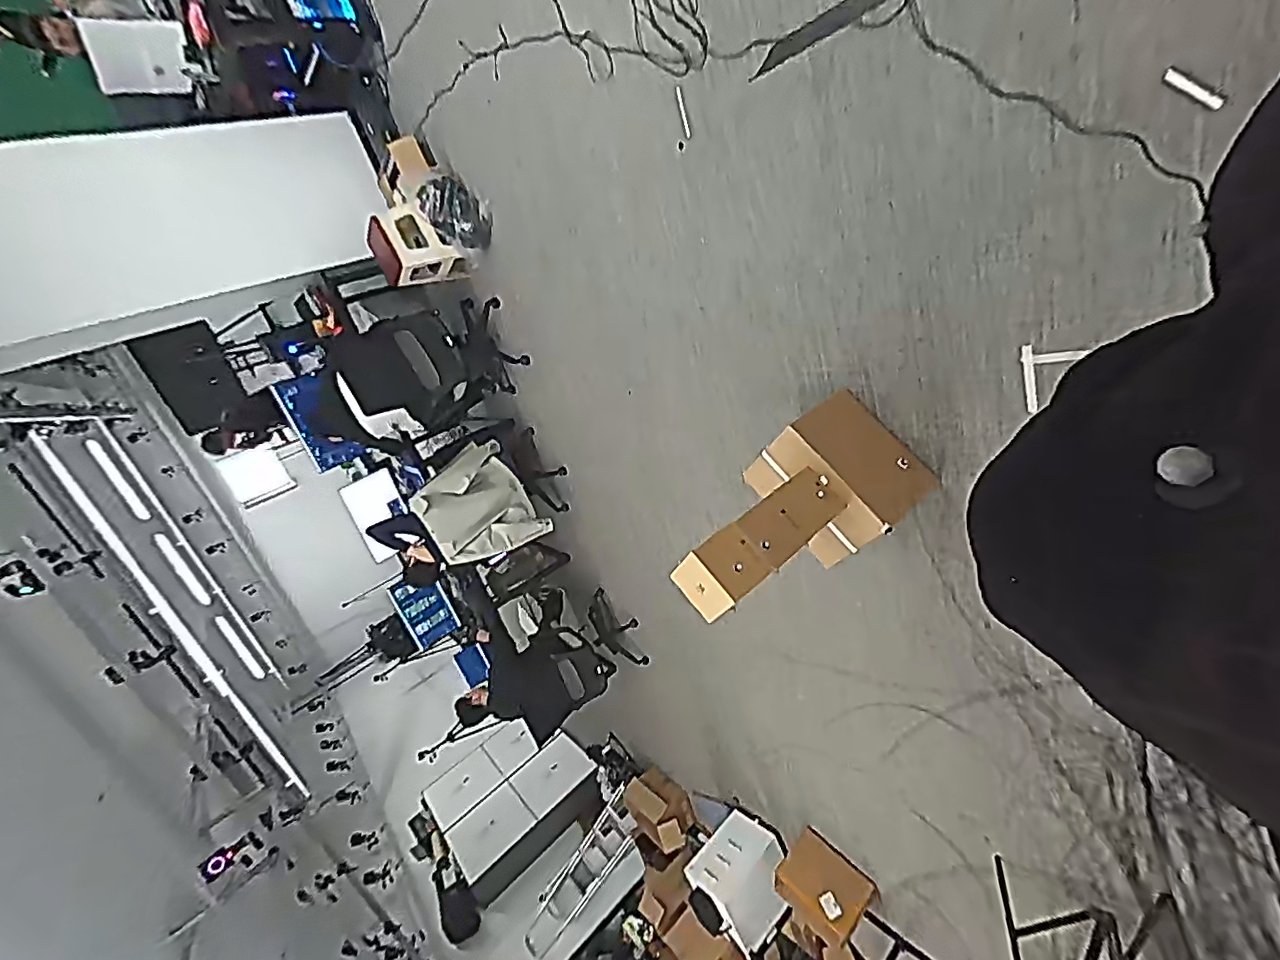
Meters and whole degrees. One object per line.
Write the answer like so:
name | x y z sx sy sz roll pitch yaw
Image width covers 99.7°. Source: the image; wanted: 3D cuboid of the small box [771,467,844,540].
small box | 0.461 0.095 1.588 0.168 0.176 0.179 50 148 15

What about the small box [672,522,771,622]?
small box | 0.217 0.239 1.425 0.168 0.176 0.179 50 149 15

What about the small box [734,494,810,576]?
small box | 0.339 0.170 1.508 0.168 0.176 0.179 50 149 14
